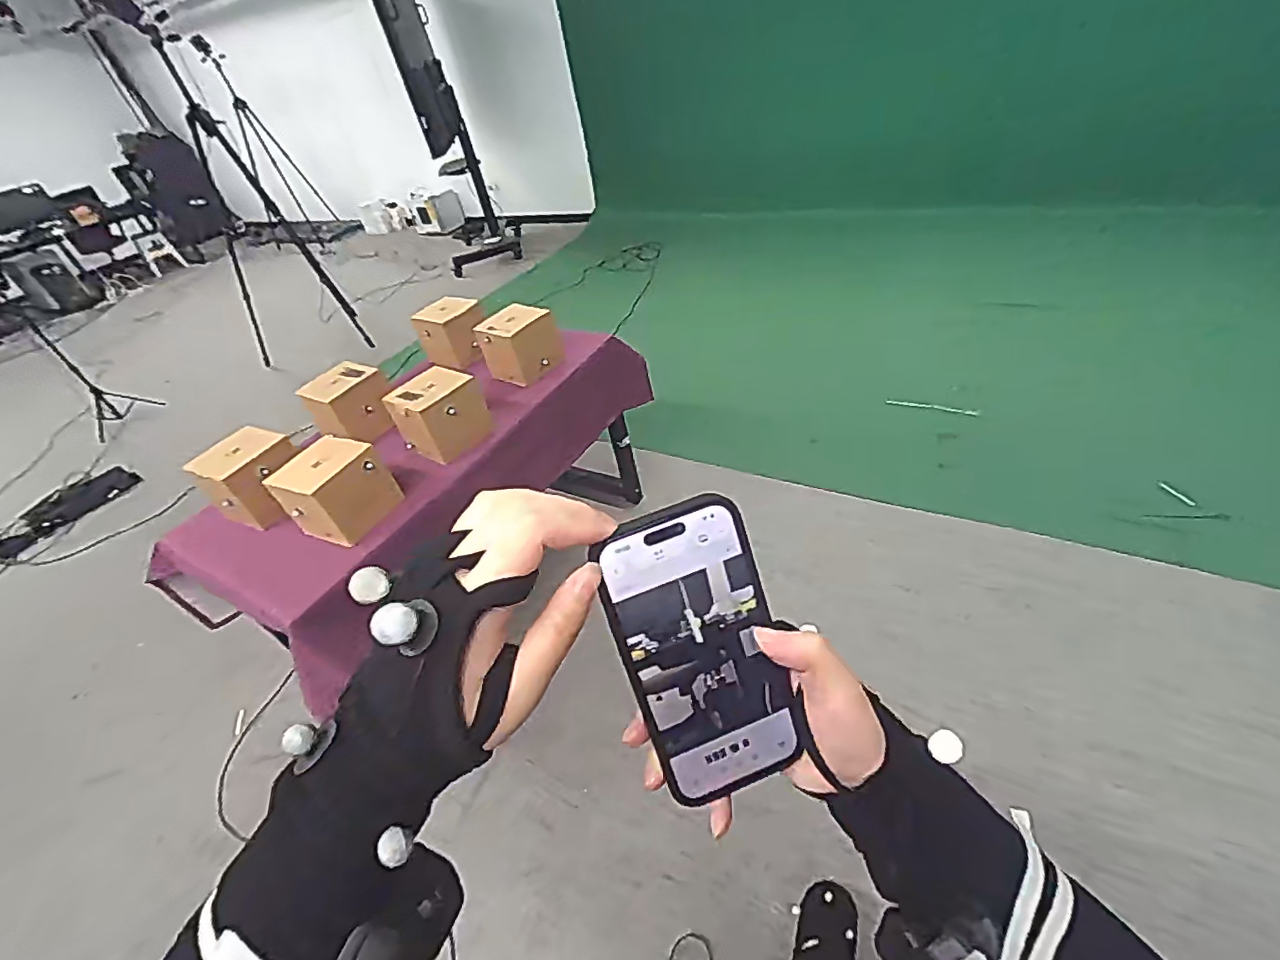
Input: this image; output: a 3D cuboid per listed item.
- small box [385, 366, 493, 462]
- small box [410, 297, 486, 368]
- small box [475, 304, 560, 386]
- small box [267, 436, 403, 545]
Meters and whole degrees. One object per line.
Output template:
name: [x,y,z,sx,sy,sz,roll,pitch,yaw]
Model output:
small box: [-0.517,-0.171,1.412,0.168,0.176,0.179,20,49,32]
small box: [-0.621,-0.493,1.806,0.179,0.176,0.168,18,50,30]
small box: [-0.362,-0.413,1.648,0.168,0.176,0.179,20,50,33]
small box: [-0.684,0.024,1.234,0.168,0.176,0.179,10,44,25]
